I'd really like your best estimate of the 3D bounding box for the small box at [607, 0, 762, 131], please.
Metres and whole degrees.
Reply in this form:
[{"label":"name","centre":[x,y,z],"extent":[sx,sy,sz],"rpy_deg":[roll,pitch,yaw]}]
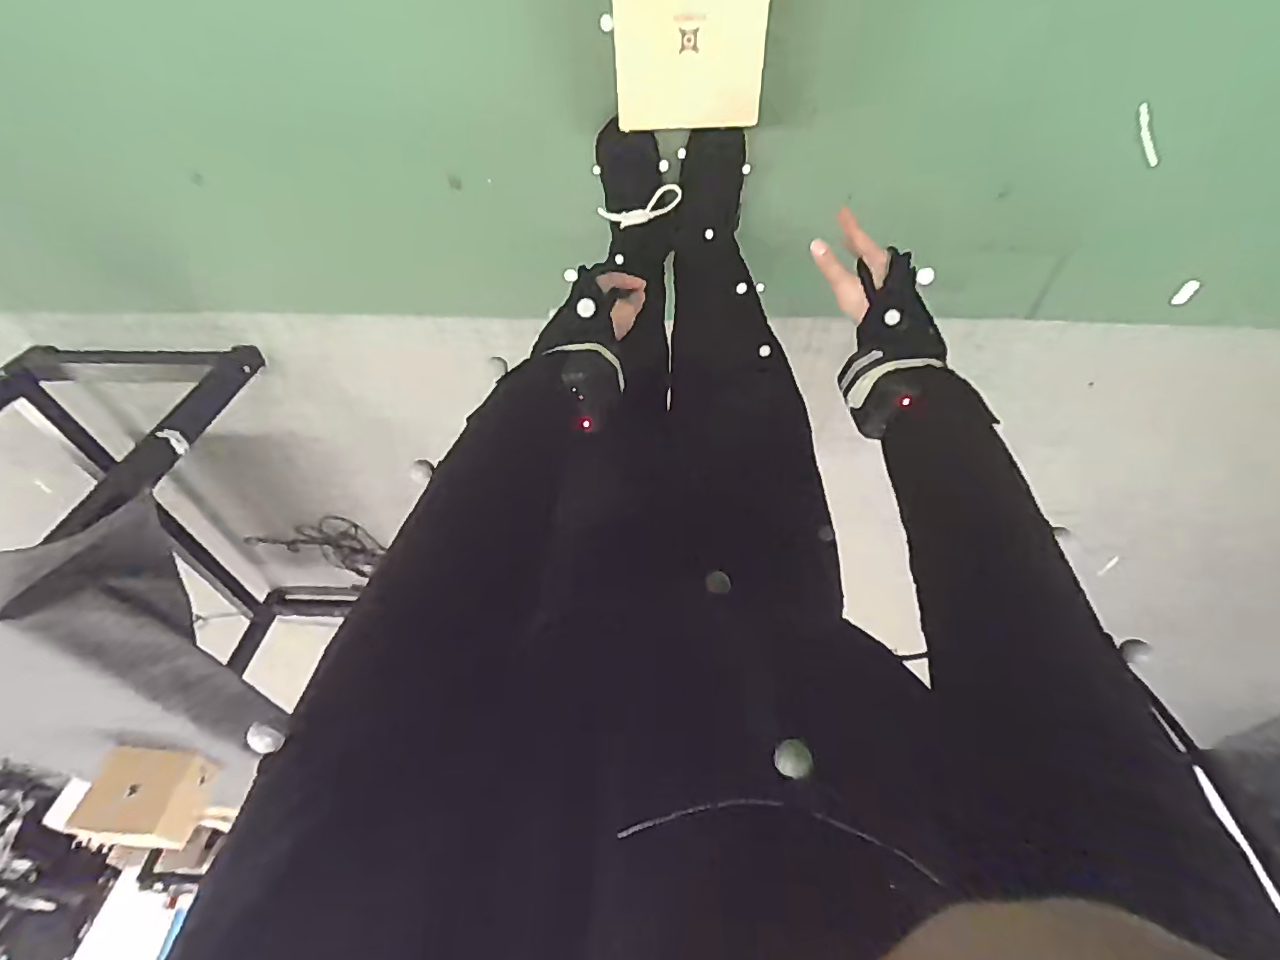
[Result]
[{"label":"small box","centre":[0.052,-0.537,0.638],"extent":[0.168,0.176,0.179],"rpy_deg":[1,136,4]}]
